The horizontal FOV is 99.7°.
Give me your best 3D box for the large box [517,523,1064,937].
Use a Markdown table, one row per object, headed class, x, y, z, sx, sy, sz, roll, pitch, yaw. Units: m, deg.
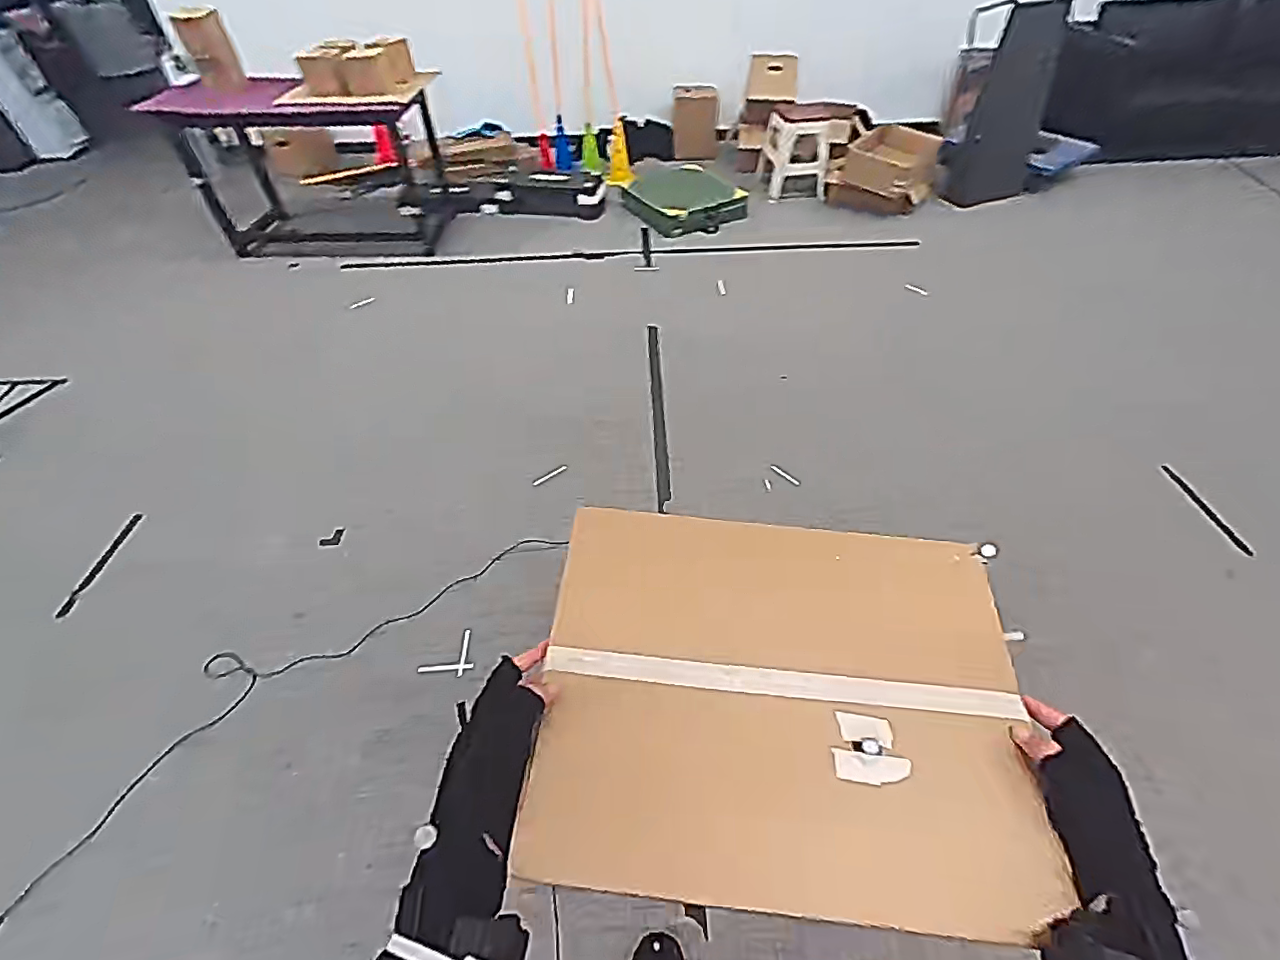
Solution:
| class | x | y | z | sx | sy | sz | roll | pitch | yaw |
| --- | --- | --- | --- | --- | --- | --- | --- | --- | --- |
| large box | 0.113 | 0.267 | 0.593 | 0.408 | 0.320 | 0.320 | 5 | 56 | 2 |
